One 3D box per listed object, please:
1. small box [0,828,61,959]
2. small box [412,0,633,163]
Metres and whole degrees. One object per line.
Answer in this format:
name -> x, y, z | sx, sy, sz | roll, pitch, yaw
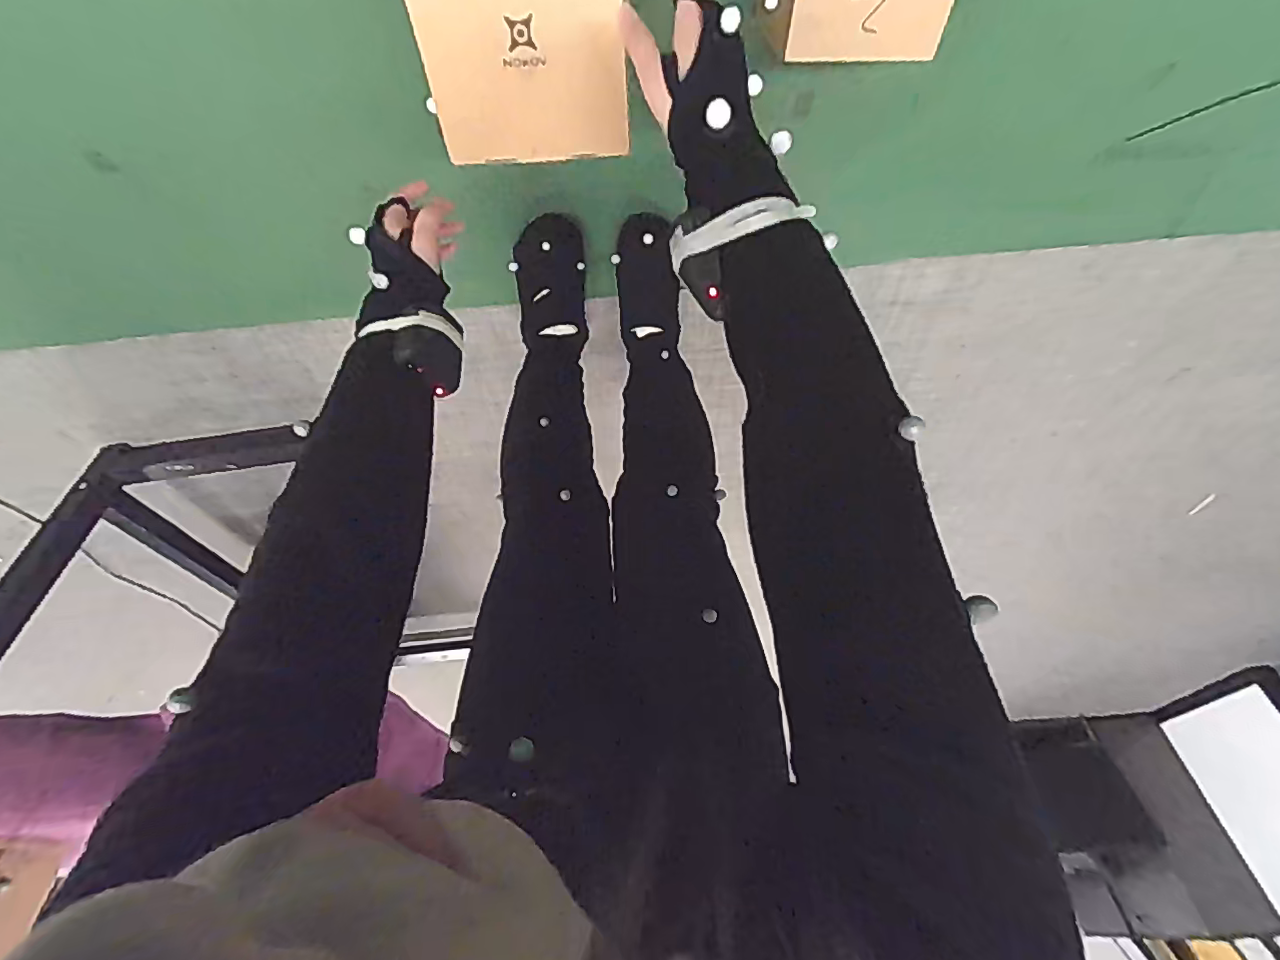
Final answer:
small box -> -0.991, 0.590, 0.747 | 0.179, 0.176, 0.168 | -7, 142, 0
small box -> -0.094, -0.410, 0.477 | 0.168, 0.176, 0.179 | -3, 141, 1
